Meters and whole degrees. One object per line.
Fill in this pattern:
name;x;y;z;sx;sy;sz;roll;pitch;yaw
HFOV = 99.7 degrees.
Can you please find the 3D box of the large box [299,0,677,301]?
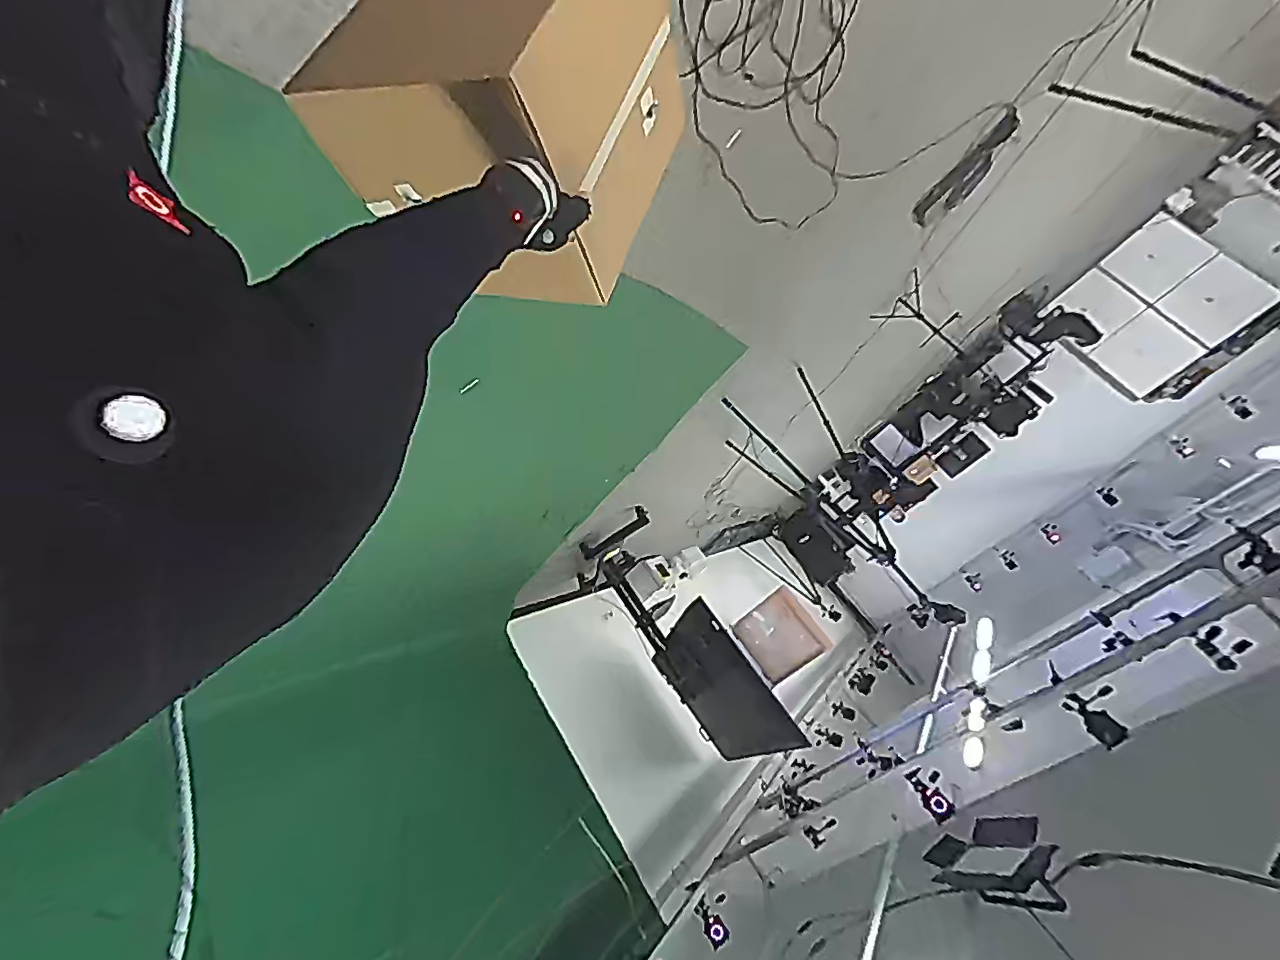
large box;-0.172;-0.519;0.769;0.320;0.320;0.408;61;44;-61
